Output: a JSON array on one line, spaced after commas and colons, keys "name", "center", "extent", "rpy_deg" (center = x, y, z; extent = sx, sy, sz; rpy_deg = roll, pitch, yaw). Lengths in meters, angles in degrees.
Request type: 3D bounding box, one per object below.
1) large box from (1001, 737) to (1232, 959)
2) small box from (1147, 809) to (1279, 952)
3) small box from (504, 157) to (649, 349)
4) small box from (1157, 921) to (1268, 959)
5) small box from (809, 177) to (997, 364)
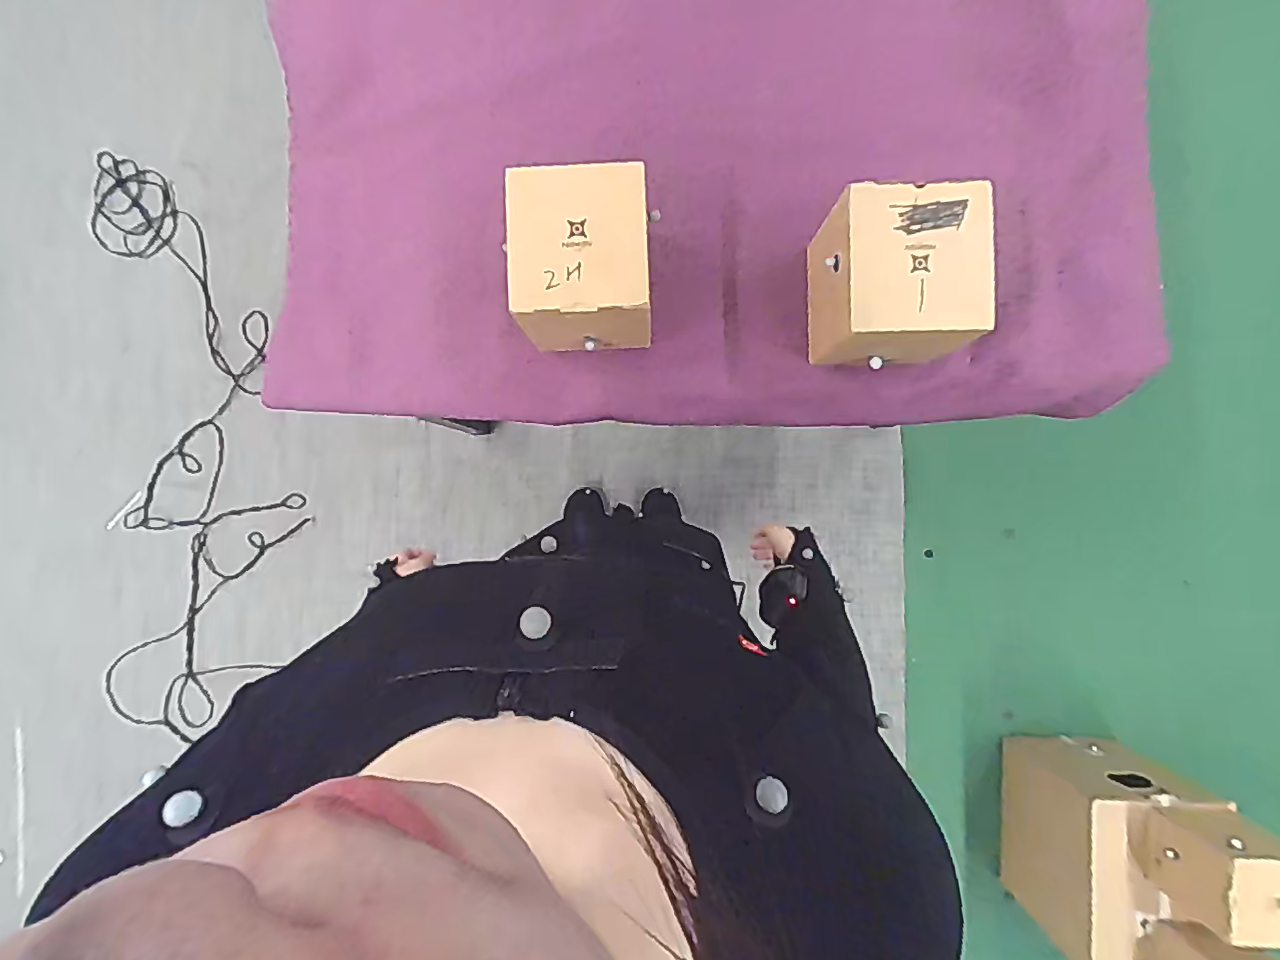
[{"name": "large box", "center": [1.129, 0.894, 1.318], "extent": [0.320, 0.320, 0.408], "rpy_deg": [1, 90, 2]}, {"name": "small box", "center": [1.176, 0.786, 1.075], "extent": [0.179, 0.176, 0.168], "rpy_deg": [1, 90, 1]}, {"name": "small box", "center": [-0.074, -0.281, 0.699], "extent": [0.168, 0.176, 0.179], "rpy_deg": [-2, 88, 2]}, {"name": "small box", "center": [1.177, 1.035, 1.070], "extent": [0.168, 0.176, 0.179], "rpy_deg": [6, 89, 1]}, {"name": "small box", "center": [0.321, -0.255, 0.691], "extent": [0.168, 0.176, 0.179], "rpy_deg": [0, 89, 2]}]
